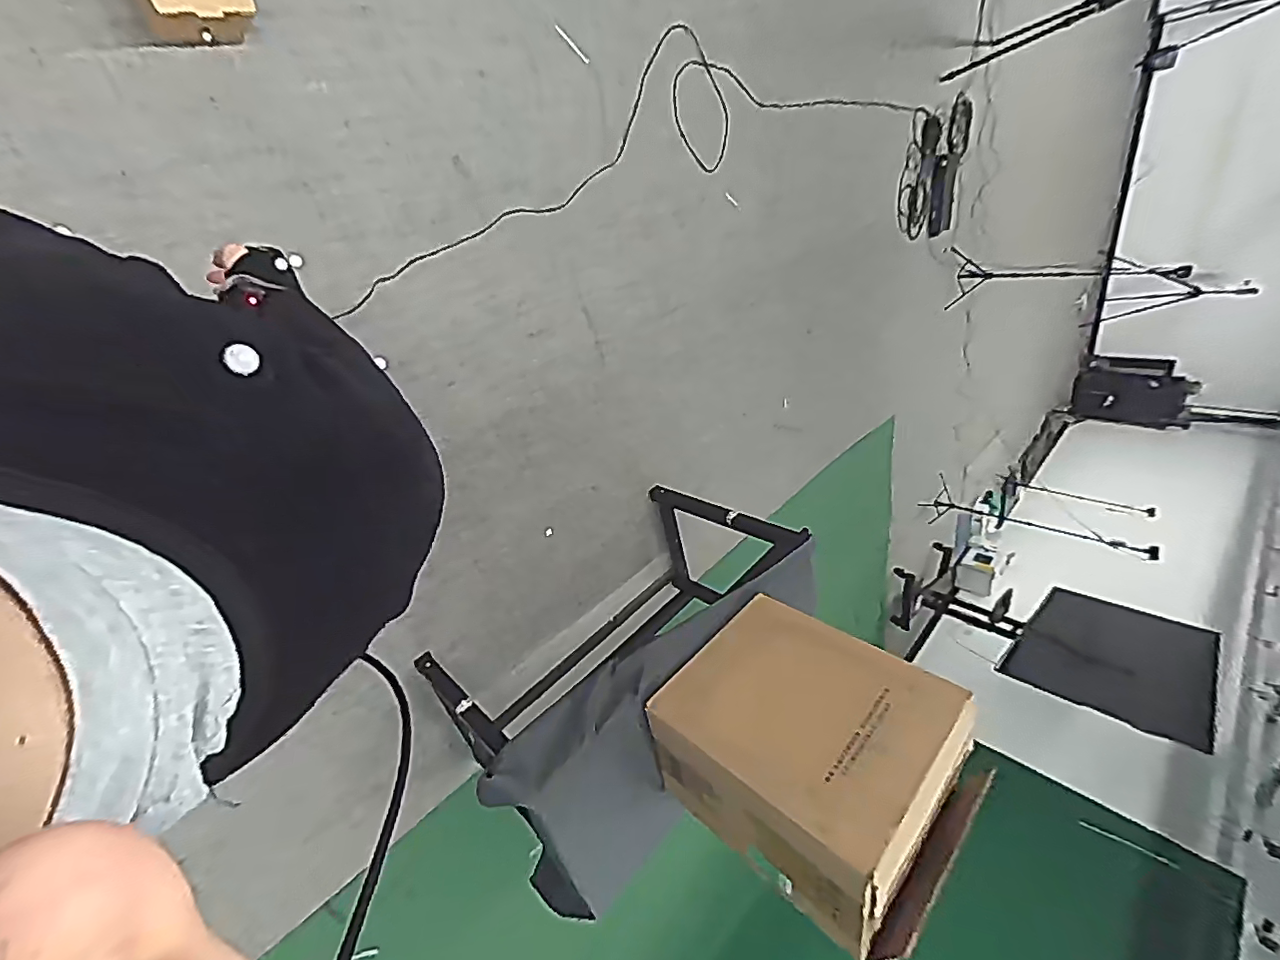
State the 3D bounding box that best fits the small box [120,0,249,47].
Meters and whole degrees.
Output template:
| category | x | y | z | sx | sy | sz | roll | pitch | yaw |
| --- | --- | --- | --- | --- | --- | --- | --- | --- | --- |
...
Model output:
| category | x | y | z | sx | sy | sz | roll | pitch | yaw |
| --- | --- | --- | --- | --- | --- | --- | --- | --- | --- |
| small box | -0.874 | -0.936 | 1.009 | 0.168 | 0.176 | 0.179 | -33 | 125 | -33 |
